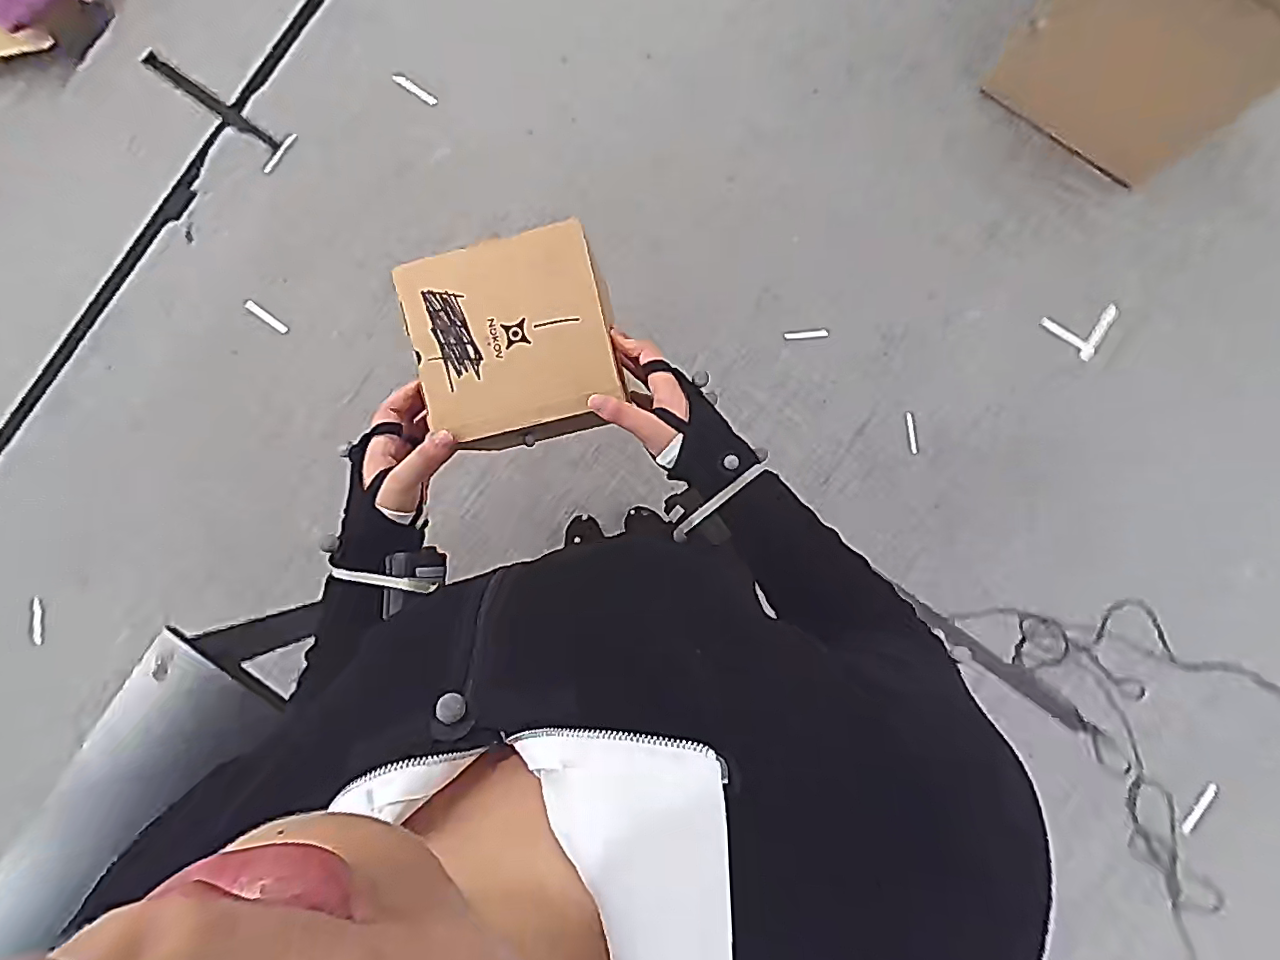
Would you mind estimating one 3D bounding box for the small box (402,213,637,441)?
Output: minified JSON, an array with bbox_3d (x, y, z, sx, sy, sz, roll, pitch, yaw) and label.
[{"bbox_3d":[-0.107,-0.137,0.553,0.179,0.176,0.168,-12,91,4],"label":"small box"}]
